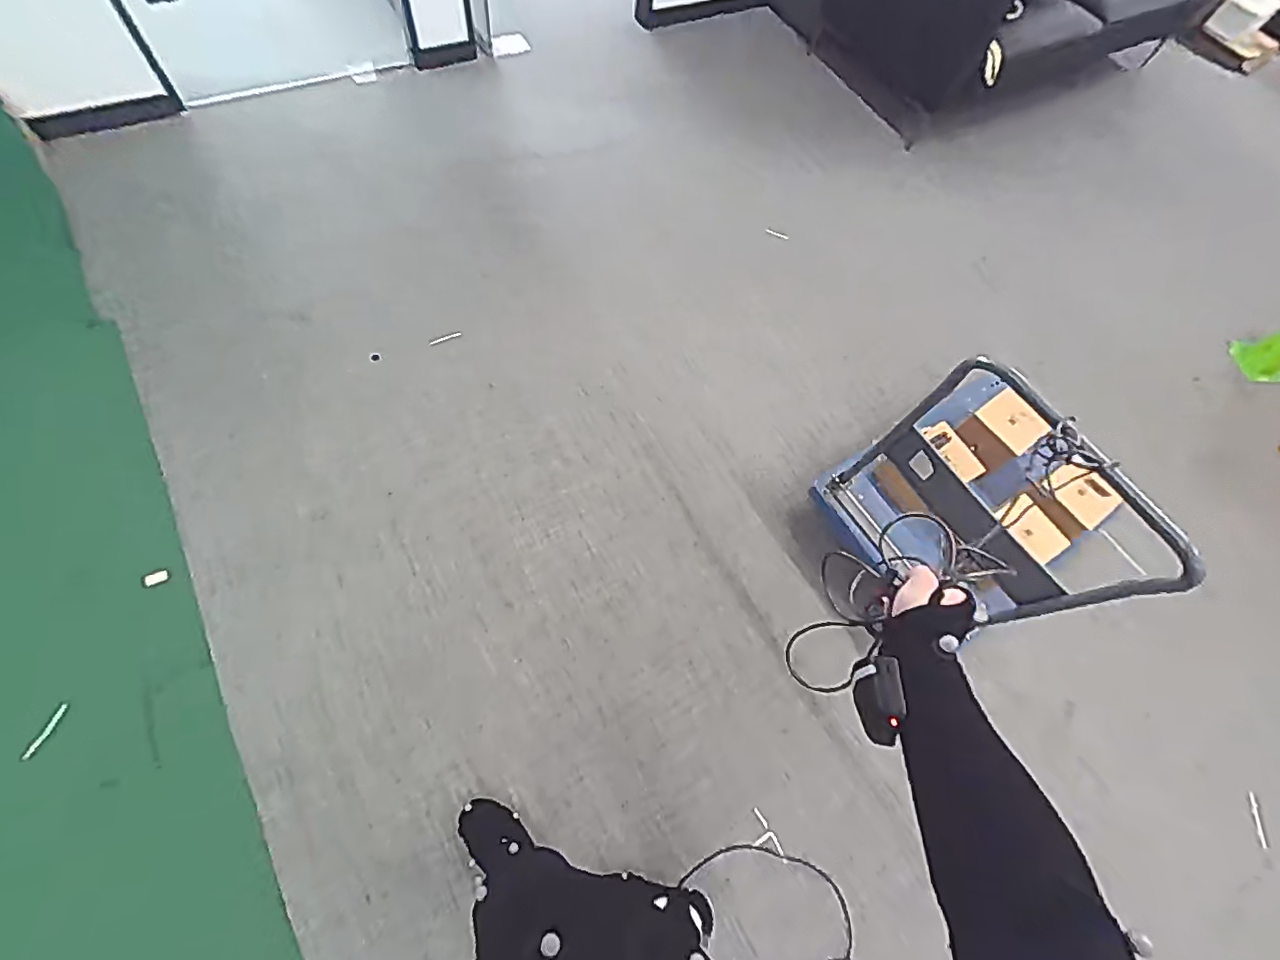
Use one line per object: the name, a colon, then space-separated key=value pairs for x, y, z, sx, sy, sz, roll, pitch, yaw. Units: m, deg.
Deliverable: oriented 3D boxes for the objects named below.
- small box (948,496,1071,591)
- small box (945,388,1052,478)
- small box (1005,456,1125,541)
small box: x=0.983 y=0.174 z=1.455 sx=0.179 sy=0.176 sz=0.168 roll=-27 pitch=71 yaw=-17
small box: x=1.051 y=-0.134 z=1.608 sx=0.179 sy=0.176 sz=0.168 roll=-32 pitch=73 yaw=-20
small box: x=1.191 y=0.067 z=1.530 sx=0.179 sy=0.176 sz=0.168 roll=-30 pitch=71 yaw=-19
